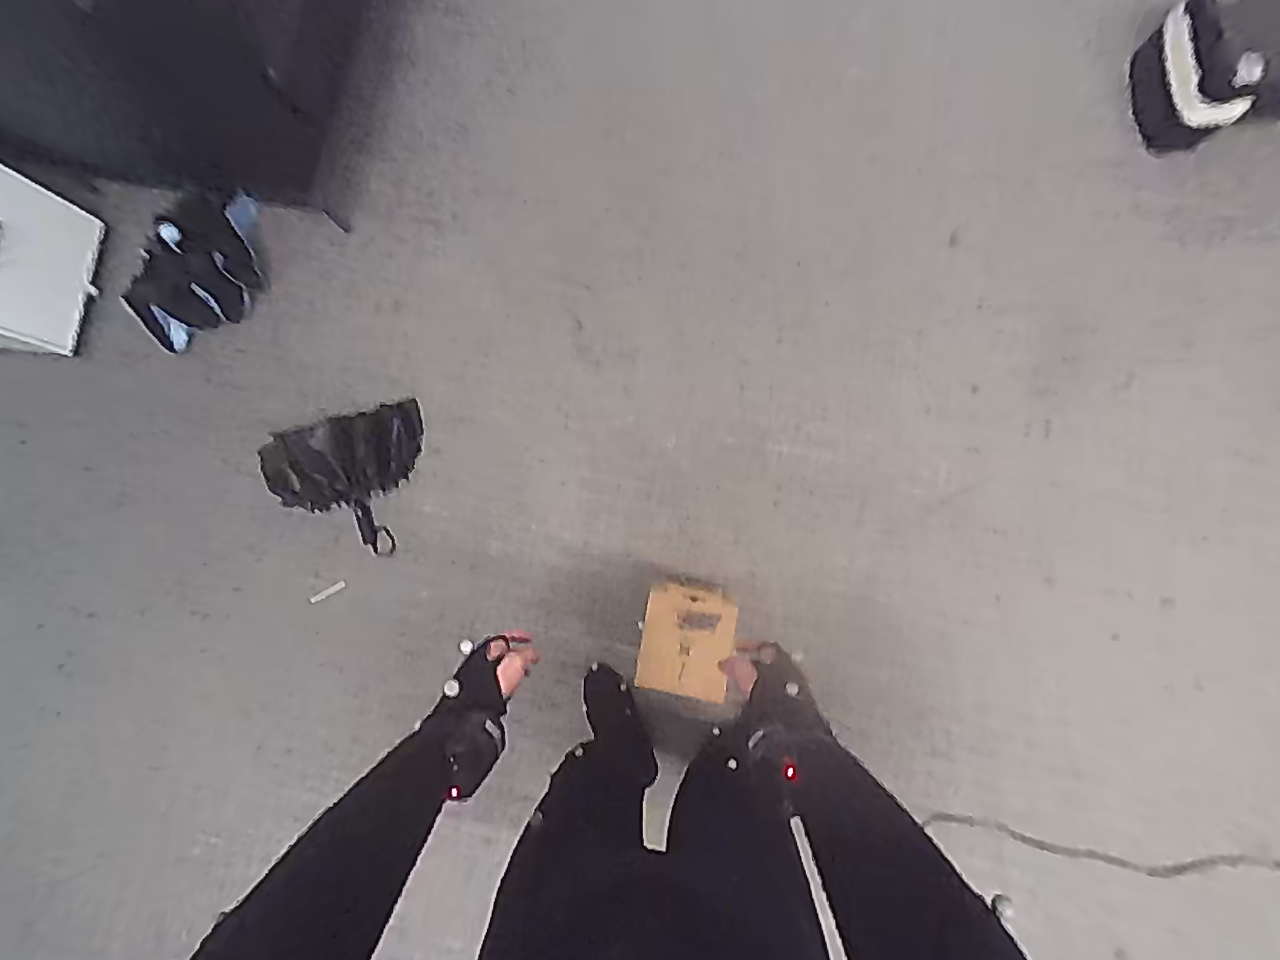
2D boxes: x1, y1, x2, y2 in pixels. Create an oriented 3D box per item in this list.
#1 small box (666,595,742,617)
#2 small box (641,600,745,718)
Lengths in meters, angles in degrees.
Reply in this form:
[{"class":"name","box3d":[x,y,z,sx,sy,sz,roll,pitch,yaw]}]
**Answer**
[{"class":"small box","box3d":[0.131,0.357,1.210,0.168,0.176,0.179,7,83,8]},{"class":"small box","box3d":[0.104,0.335,1.049,0.168,0.176,0.179,8,83,8]}]
